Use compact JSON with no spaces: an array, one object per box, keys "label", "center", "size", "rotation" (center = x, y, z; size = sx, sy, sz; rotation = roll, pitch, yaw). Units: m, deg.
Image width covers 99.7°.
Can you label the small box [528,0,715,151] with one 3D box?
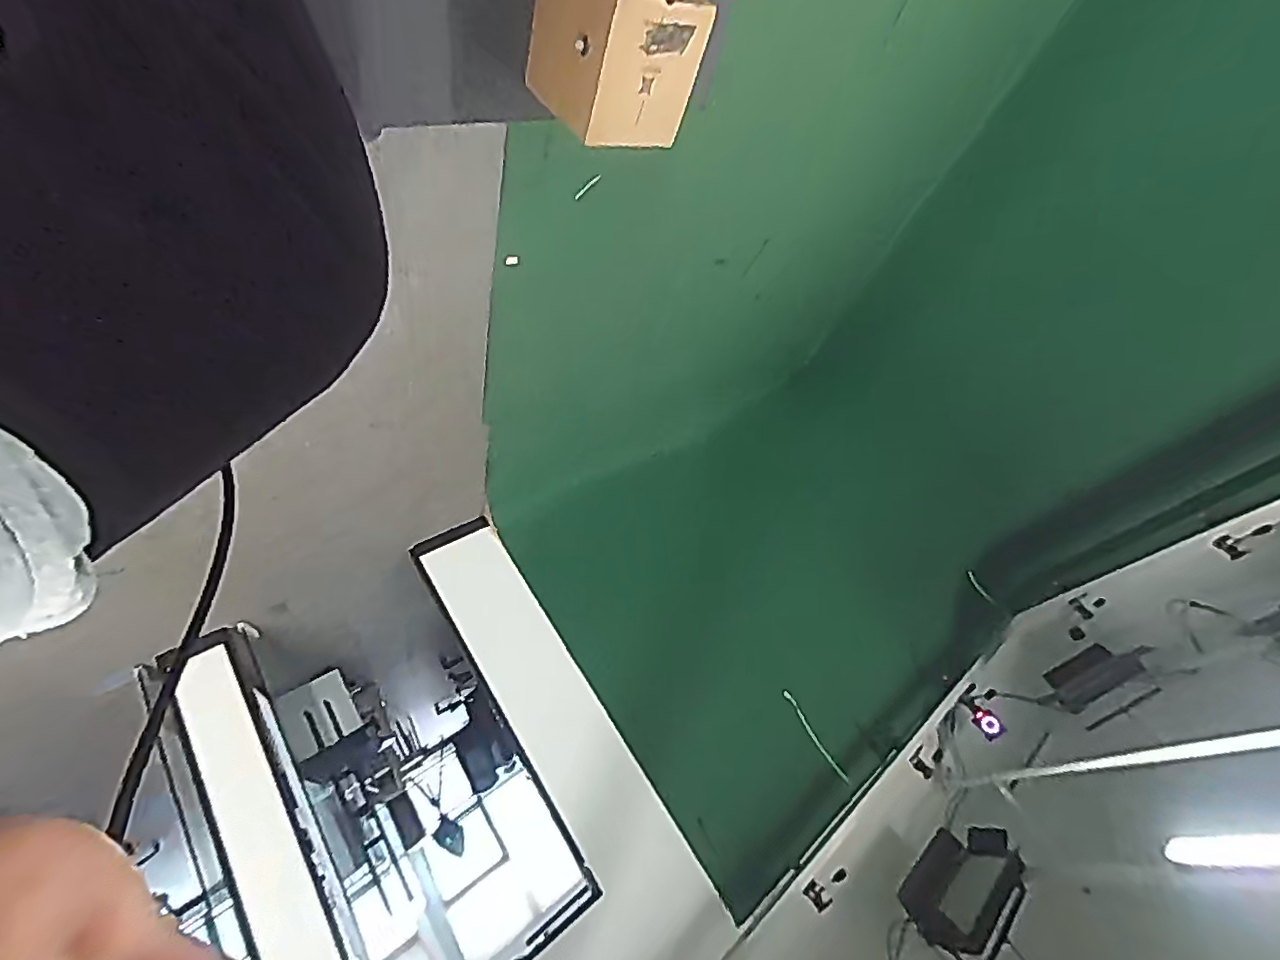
[{"label":"small box","center":[-0.036,-0.587,0.741],"size":[0.168,0.176,0.179],"rotation":[-23,157,-34]}]
